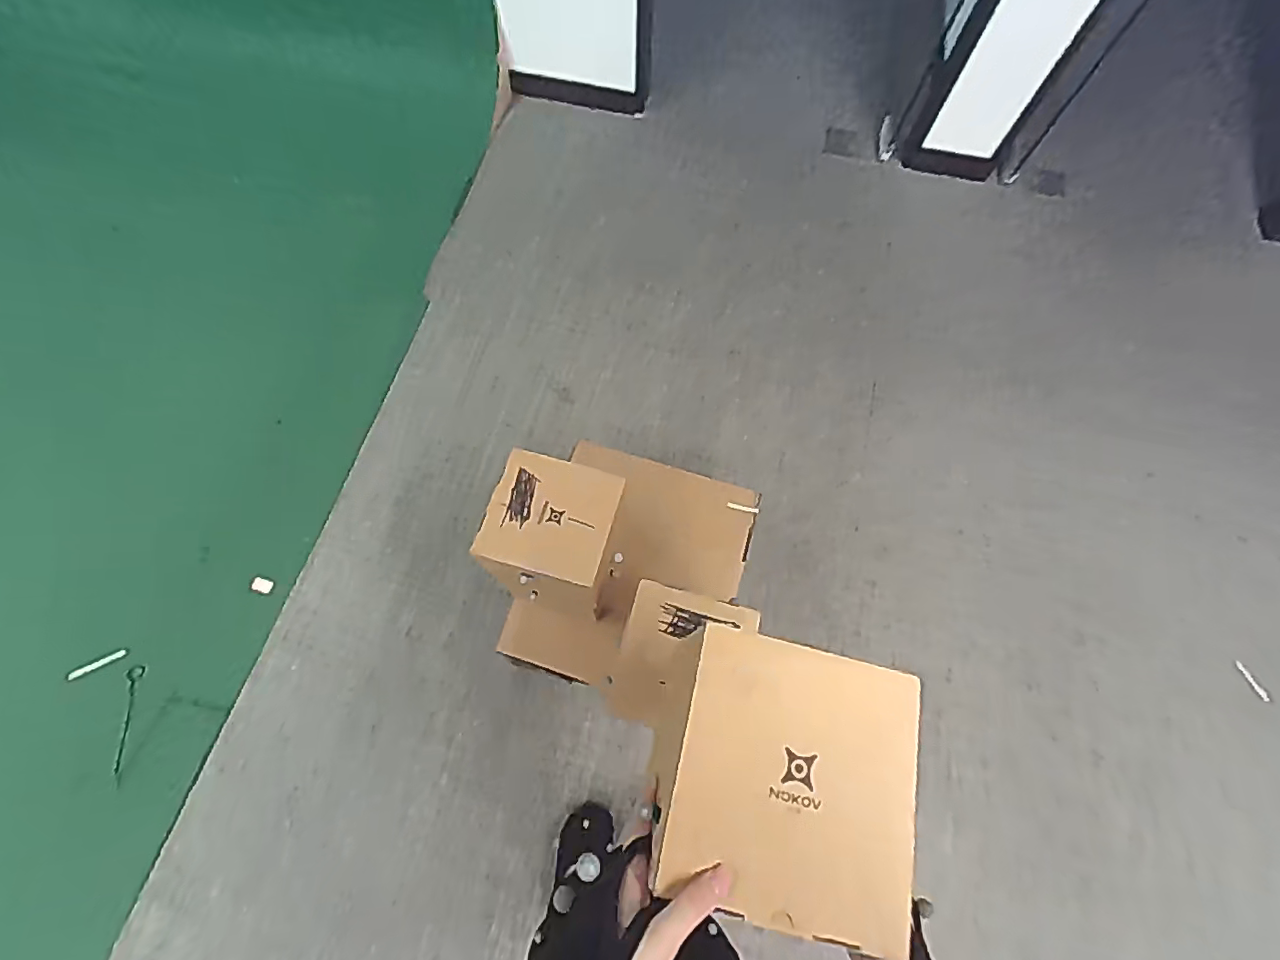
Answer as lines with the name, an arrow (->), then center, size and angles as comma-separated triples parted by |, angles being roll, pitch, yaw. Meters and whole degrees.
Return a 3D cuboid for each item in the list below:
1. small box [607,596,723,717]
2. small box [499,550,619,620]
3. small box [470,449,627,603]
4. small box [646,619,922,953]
small box -> 0.051, 0.308, 0.907 | 0.179, 0.176, 0.168 | 14, 68, 4
small box -> -0.133, 0.135, 0.970 | 0.168, 0.176, 0.179 | 15, 67, 5
small box -> -0.124, 0.078, 0.814 | 0.179, 0.176, 0.168 | 14, 69, 5
small box -> 0.105, 0.229, 0.445 | 0.168, 0.176, 0.179 | 14, 69, 1
